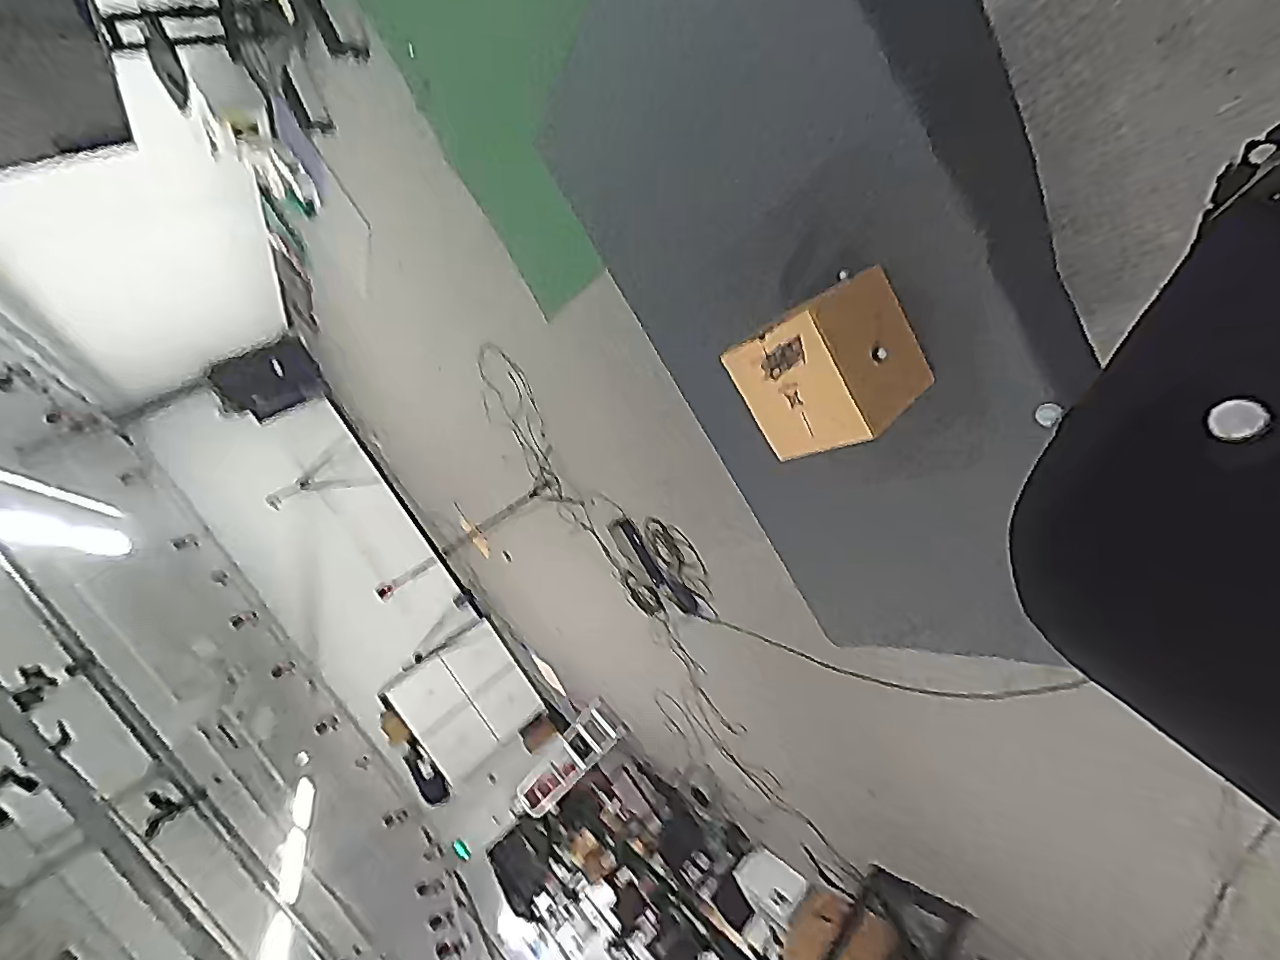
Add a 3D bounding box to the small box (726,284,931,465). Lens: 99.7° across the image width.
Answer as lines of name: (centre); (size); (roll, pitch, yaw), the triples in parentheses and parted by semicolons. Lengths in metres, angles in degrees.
small box: (0.259, -0.147, 0.746); (0.179, 0.176, 0.168); (58, 151, -9)
